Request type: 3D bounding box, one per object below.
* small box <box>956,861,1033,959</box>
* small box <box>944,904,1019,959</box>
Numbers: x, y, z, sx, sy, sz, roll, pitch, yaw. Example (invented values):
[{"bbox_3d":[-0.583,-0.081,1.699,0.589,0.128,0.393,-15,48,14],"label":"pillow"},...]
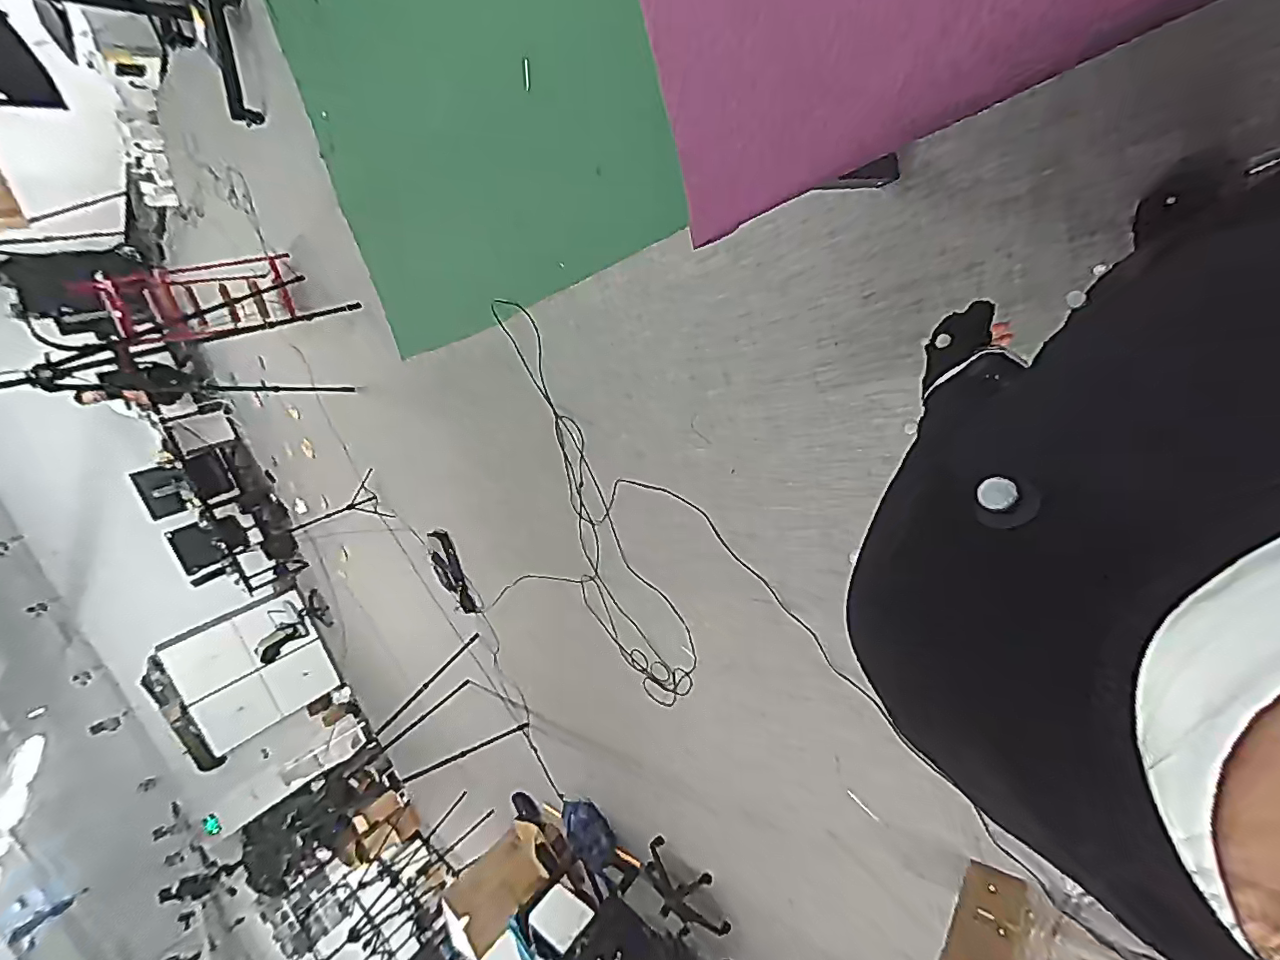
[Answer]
[{"bbox_3d":[1.164,1.407,1.771,0.168,0.176,0.179,-4,107,49],"label":"small box"},{"bbox_3d":[1.052,1.472,1.665,0.168,0.176,0.179,0,112,45],"label":"small box"}]
